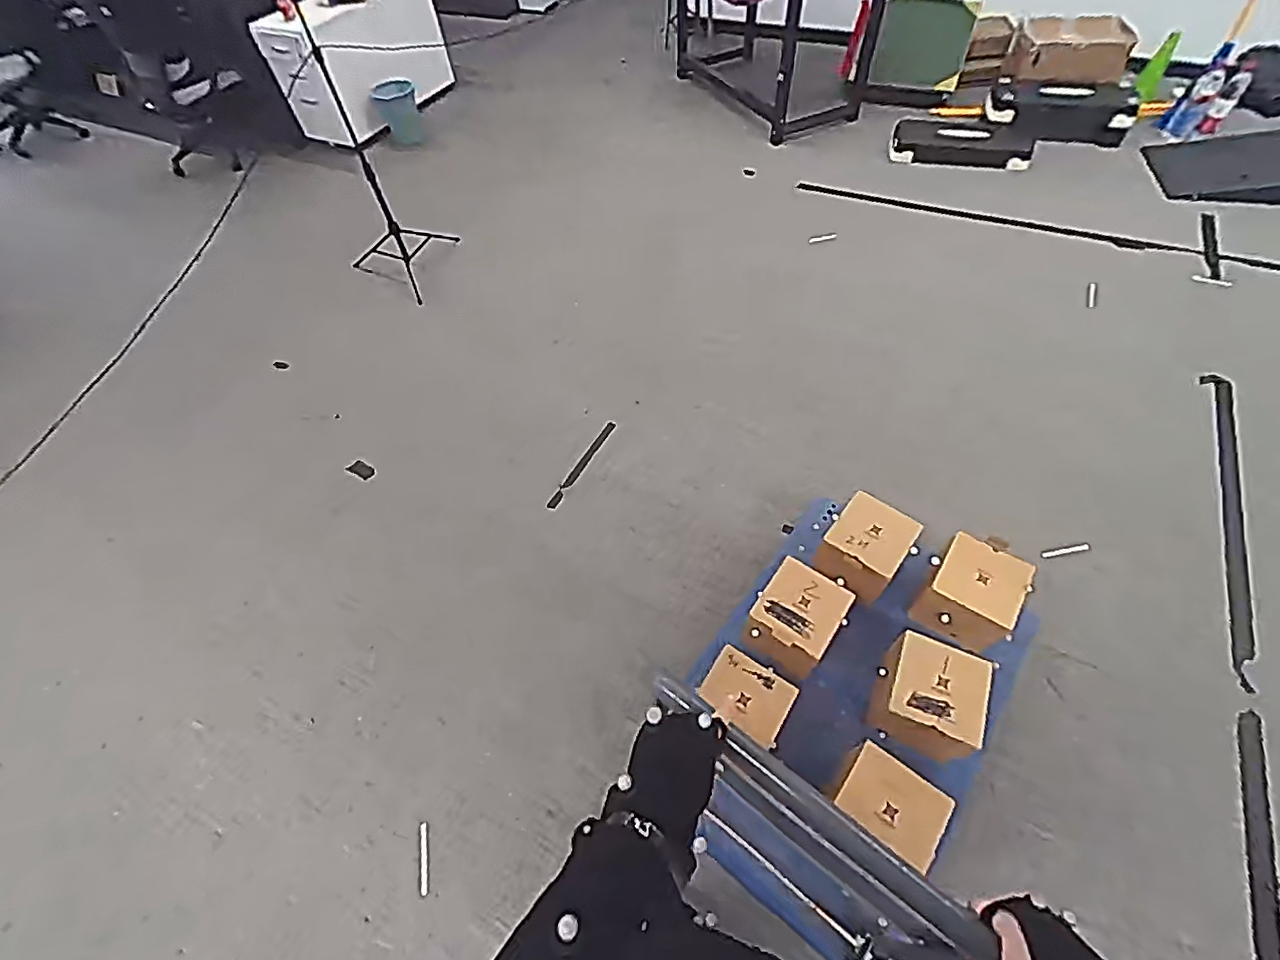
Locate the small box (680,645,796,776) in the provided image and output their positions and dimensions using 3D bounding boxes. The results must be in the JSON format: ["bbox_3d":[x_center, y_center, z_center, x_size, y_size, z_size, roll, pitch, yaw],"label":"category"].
[{"bbox_3d":[0.198,0.482,1.117,0.168,0.176,0.179,29,62,21],"label":"small box"}]

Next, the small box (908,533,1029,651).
[{"bbox_3d":[0.740,0.261,1.237,0.168,0.176,0.179,29,62,22],"label":"small box"}]

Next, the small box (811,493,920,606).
[{"bbox_3d":[0.536,0.170,1.311,0.168,0.176,0.179,34,64,24],"label":"small box"}]

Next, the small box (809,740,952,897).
[{"bbox_3d":[0.433,0.625,1.003,0.168,0.176,0.179,33,62,23],"label":"small box"}]

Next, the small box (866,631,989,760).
[{"bbox_3d":[0.584,0.448,1.116,0.168,0.176,0.179,21,58,18],"label":"small box"}]
